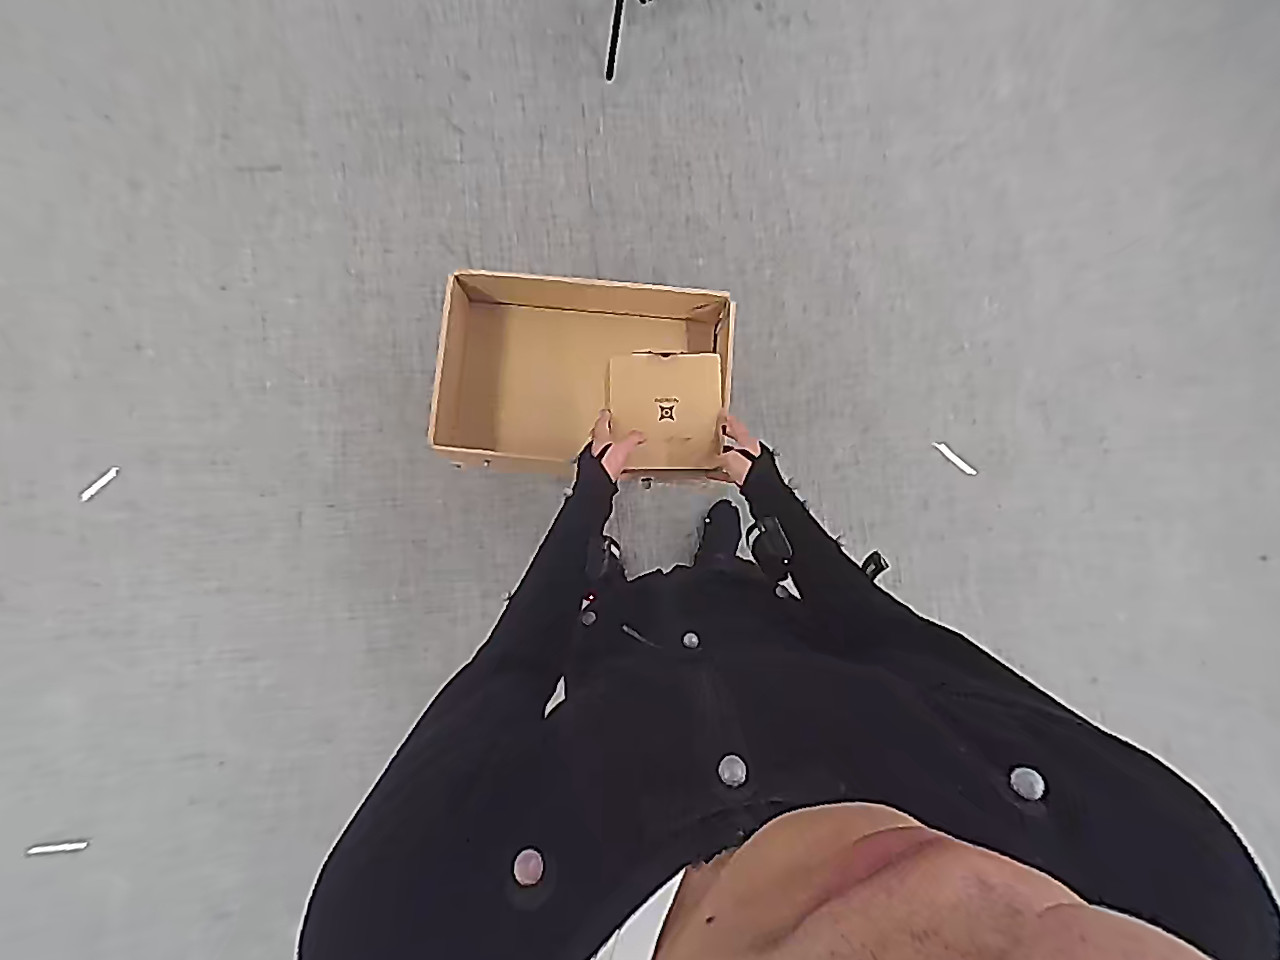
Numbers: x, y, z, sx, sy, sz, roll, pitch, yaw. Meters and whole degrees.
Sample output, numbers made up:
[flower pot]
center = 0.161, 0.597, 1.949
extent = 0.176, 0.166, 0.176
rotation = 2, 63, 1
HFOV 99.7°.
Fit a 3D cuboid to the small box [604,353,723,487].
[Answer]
[small box]
center = 0.028, -0.086, 0.853
extent = 0.168, 0.176, 0.179
rotation = 0, 84, -5
